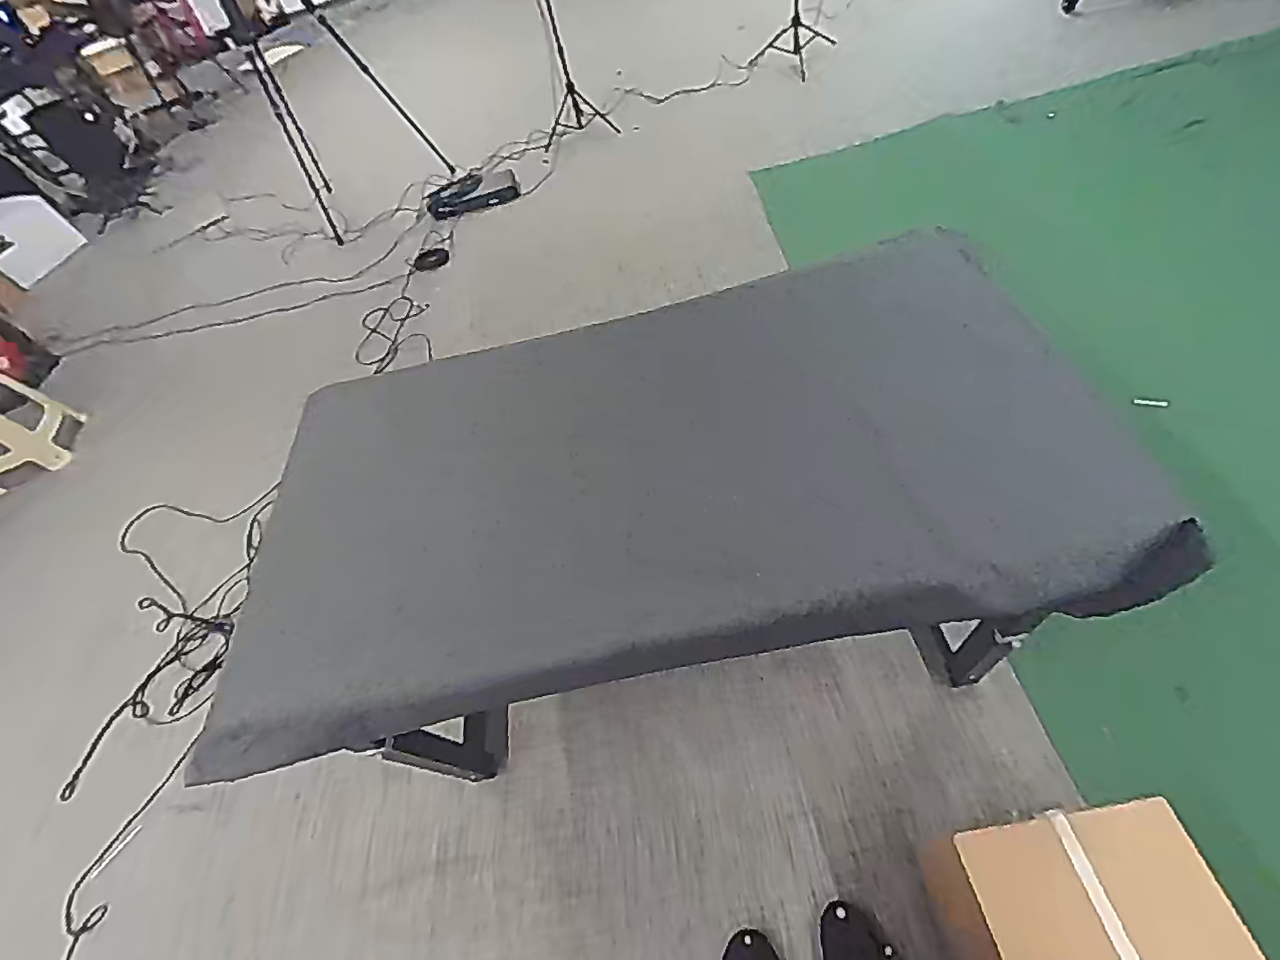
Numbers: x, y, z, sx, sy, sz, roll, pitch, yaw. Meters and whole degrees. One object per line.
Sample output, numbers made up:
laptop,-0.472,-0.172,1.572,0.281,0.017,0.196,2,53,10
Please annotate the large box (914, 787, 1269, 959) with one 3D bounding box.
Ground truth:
large box,0.682,0.731,0.817,0.320,0.320,0.408,-14,54,5
